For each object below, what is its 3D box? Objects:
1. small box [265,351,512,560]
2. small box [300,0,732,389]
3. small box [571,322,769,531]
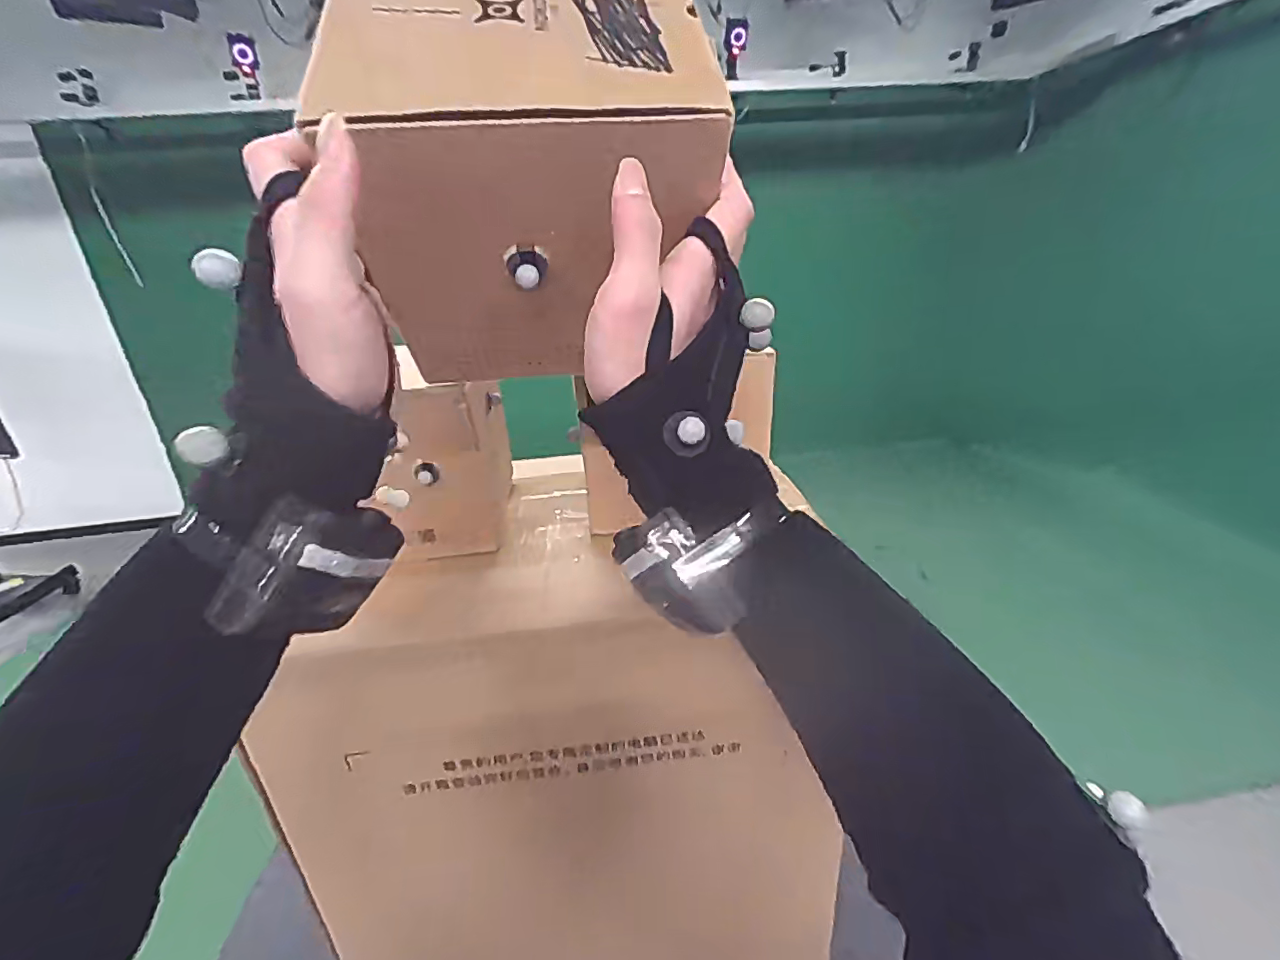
[{"bbox_3d":[-0.227,-0.030,0.547,0.168,0.176,0.179,-5,25,-6],"label":"small box"},{"bbox_3d":[-0.058,-0.172,0.323,0.179,0.176,0.168,-5,64,-4],"label":"small box"},{"bbox_3d":[0.027,-0.059,0.565,0.179,0.176,0.168,-6,27,-3],"label":"small box"}]
